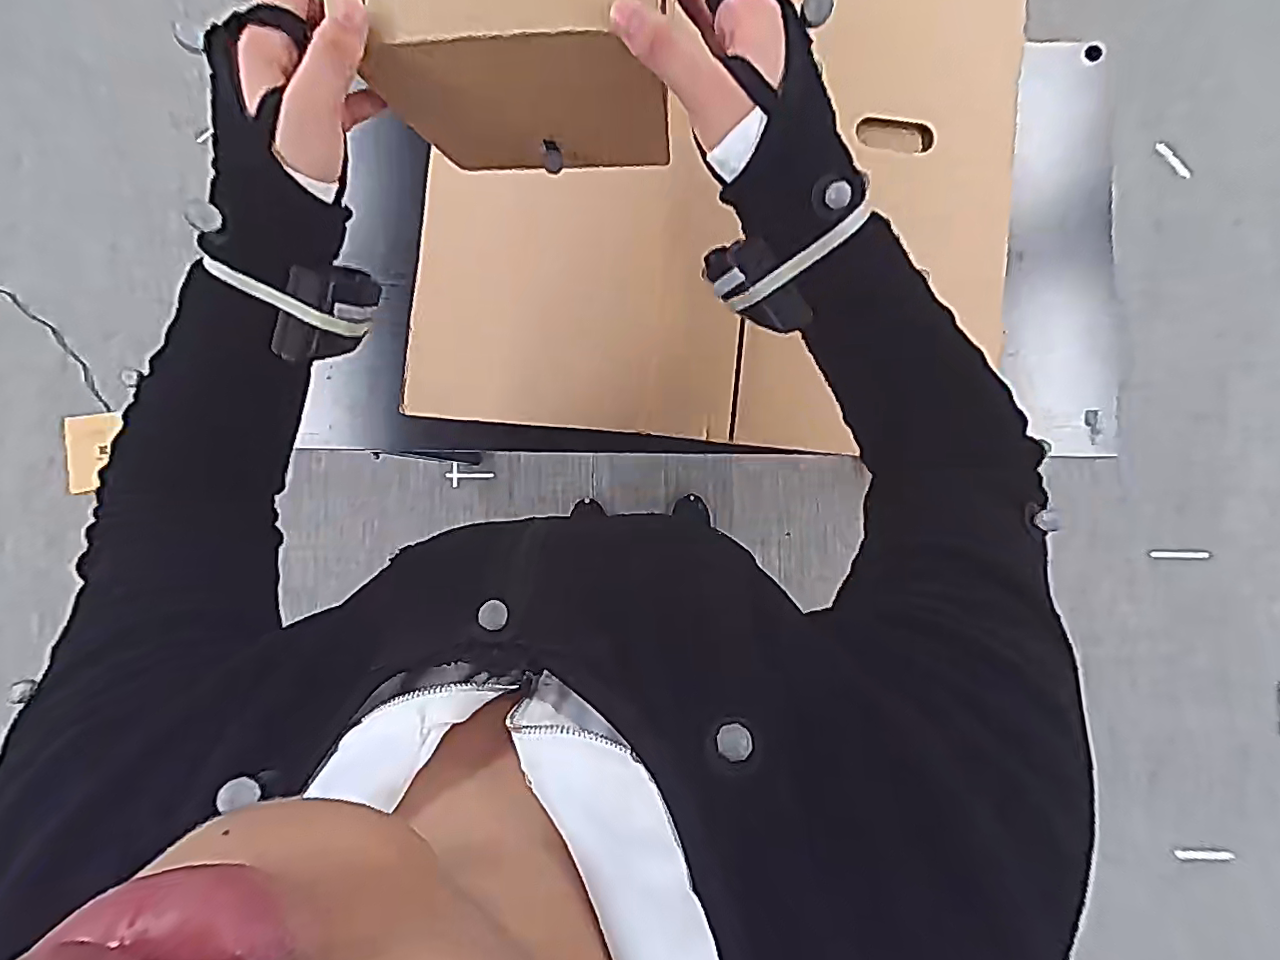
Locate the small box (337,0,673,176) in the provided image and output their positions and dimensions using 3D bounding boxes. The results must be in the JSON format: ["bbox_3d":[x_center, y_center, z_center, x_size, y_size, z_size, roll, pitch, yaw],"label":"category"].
[{"bbox_3d":[-0.066,-0.316,0.347,0.179,0.176,0.168,1,98,4],"label":"small box"}]

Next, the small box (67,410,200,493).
[{"bbox_3d":[-1.195,-0.062,1.288,0.168,0.176,0.179,-6,87,0],"label":"small box"}]
